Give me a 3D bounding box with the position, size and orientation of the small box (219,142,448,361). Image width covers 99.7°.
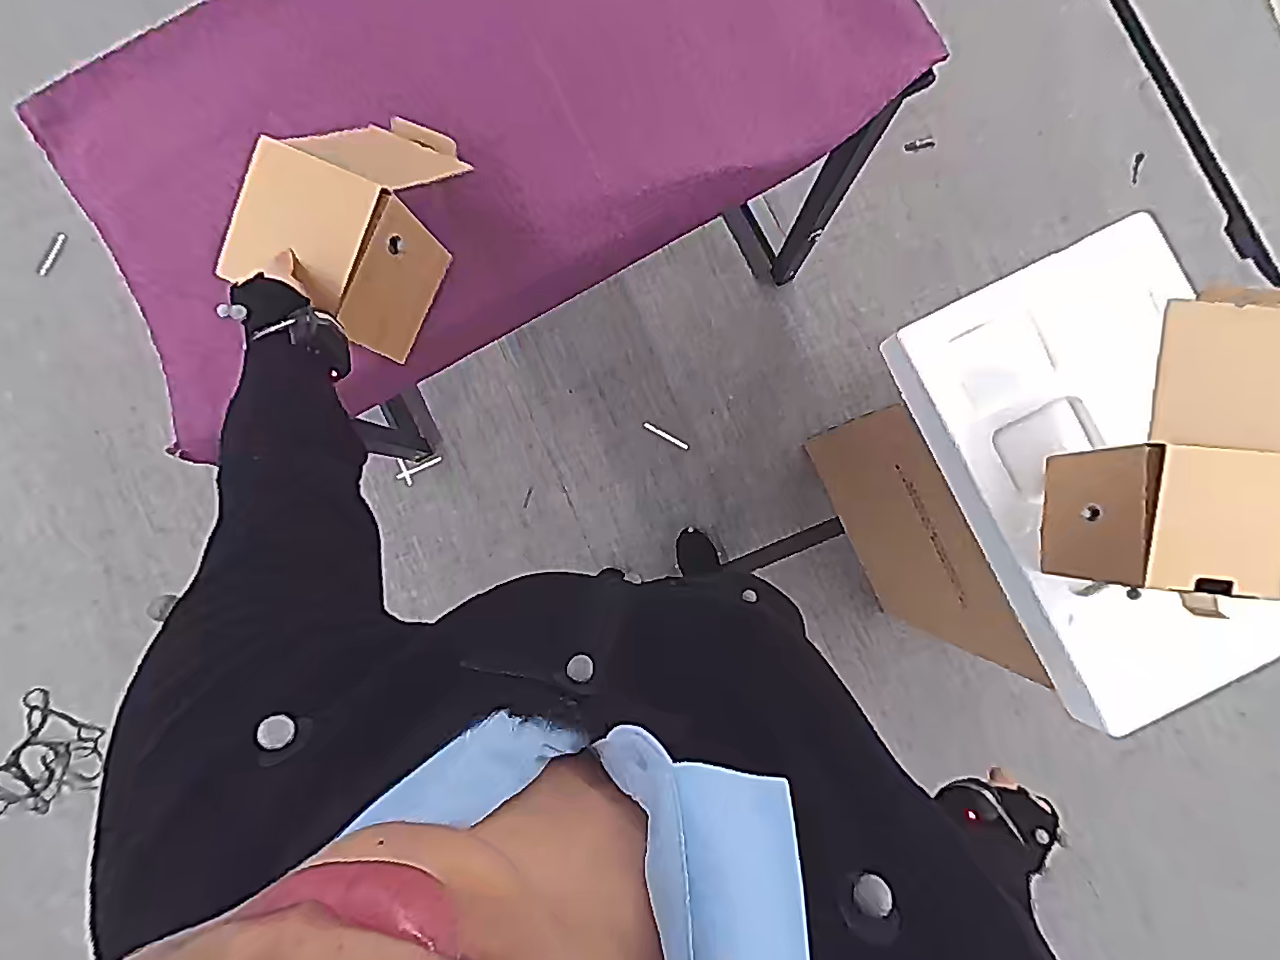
[{"bbox_3d":[-0.383,-0.286,0.712,0.168,0.176,0.179,27,90,8],"label":"small box"}]
